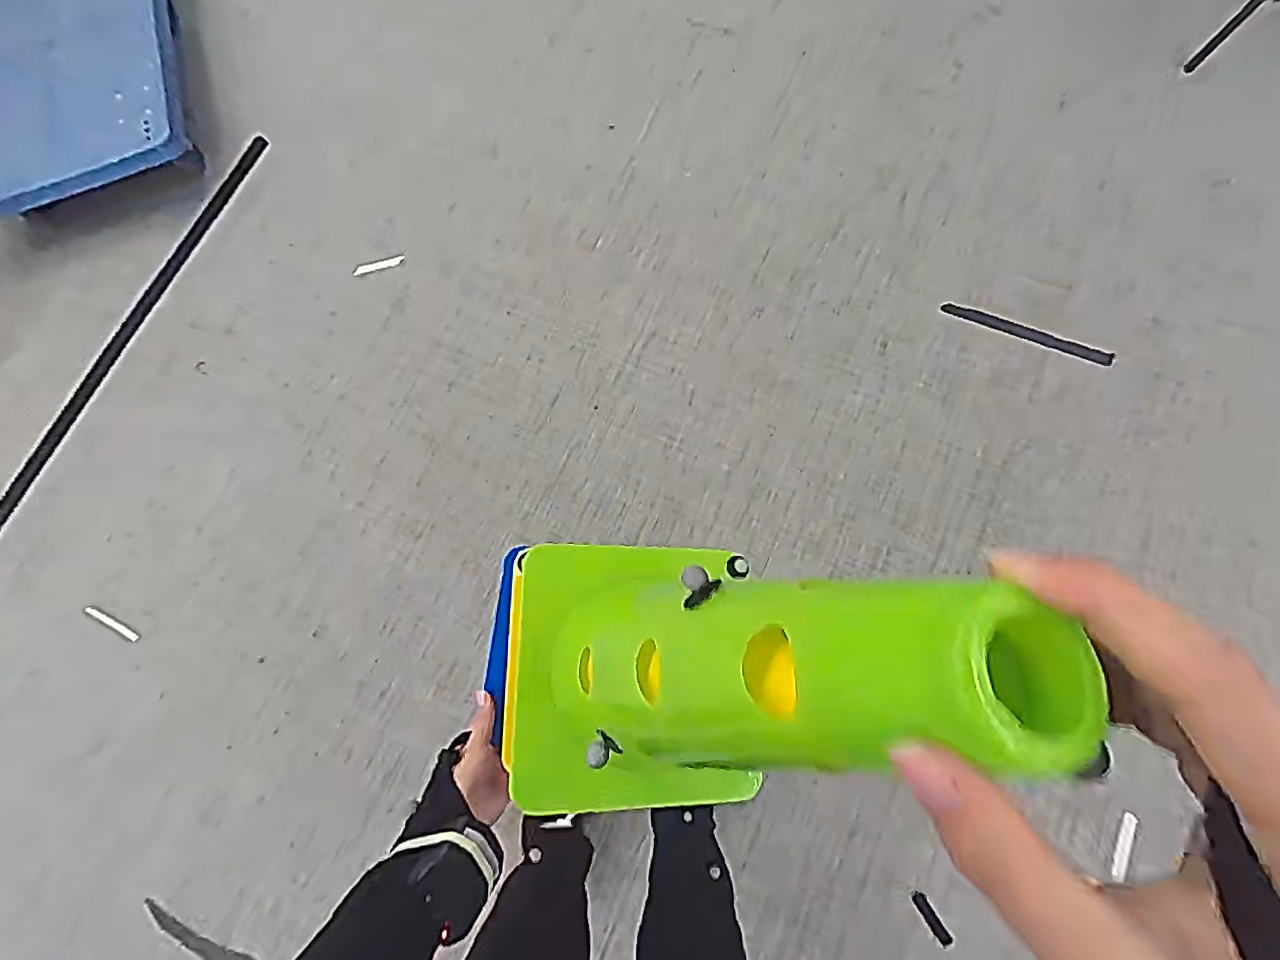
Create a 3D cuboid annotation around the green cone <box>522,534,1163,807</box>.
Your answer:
[{"bbox_3d":[0.049,0.093,0.279,0.200,0.368,0.202,3,71,-13],"label":"green cone"}]
